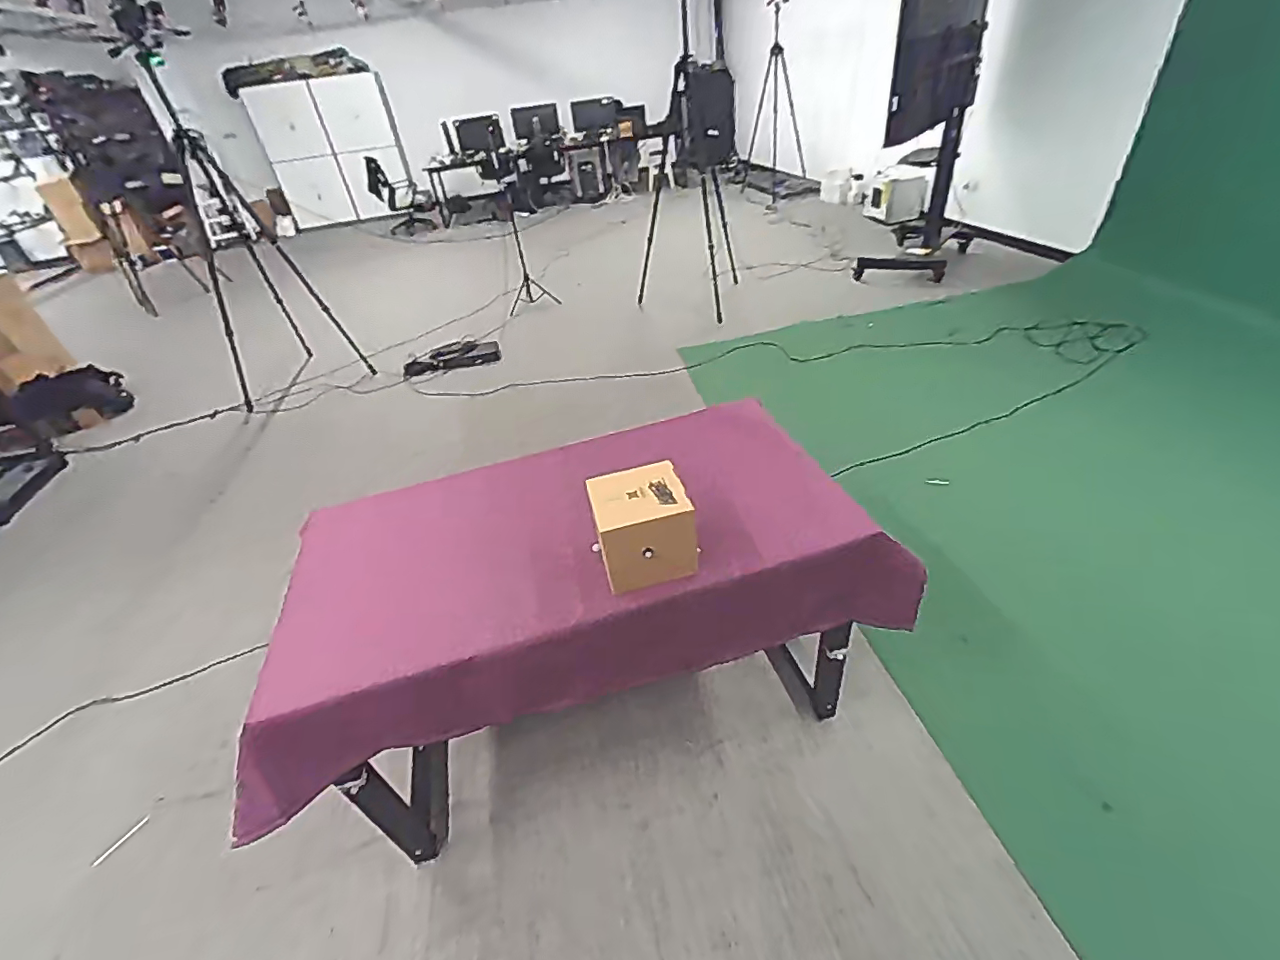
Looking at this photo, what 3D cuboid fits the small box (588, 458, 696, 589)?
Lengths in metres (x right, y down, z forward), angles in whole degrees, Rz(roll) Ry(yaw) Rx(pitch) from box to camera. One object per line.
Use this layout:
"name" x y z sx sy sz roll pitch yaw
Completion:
"small box" 0.006 0.085 1.056 0.179 0.176 0.168 -14 38 -6
